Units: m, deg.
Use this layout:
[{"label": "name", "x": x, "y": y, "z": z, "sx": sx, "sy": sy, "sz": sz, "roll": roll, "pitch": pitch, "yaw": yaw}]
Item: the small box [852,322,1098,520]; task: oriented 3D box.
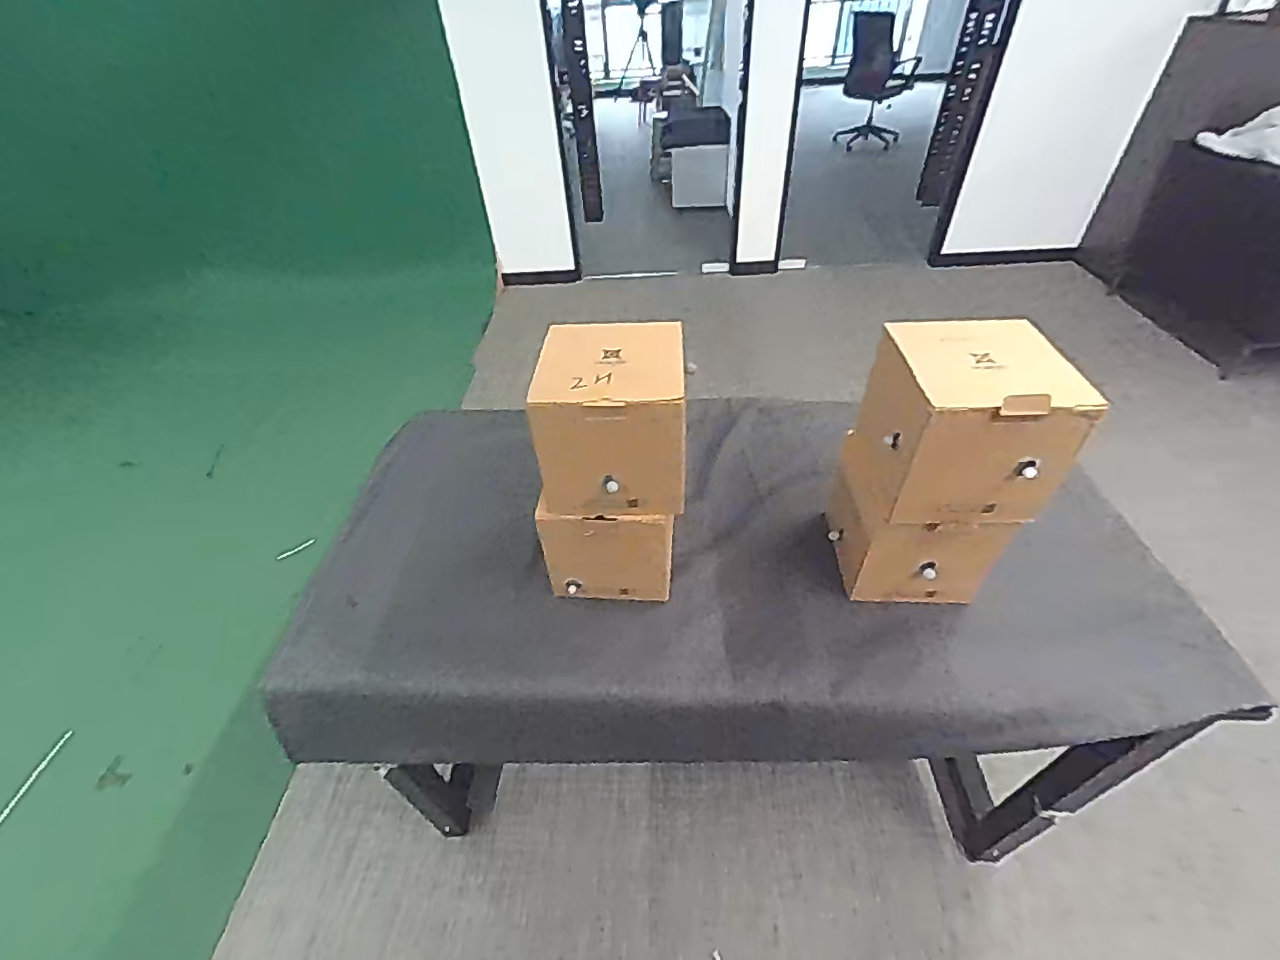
[{"label": "small box", "x": 0.366, "y": -0.068, "z": 0.635, "sx": 0.168, "sy": 0.176, "sz": 0.179, "roll": 0, "pitch": 42, "yaw": 3}]

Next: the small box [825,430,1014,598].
[{"label": "small box", "x": 0.367, "y": 0.048, "z": 0.750, "sx": 0.168, "sy": 0.176, "sz": 0.179, "roll": 1, "pitch": 44, "yaw": 4}]

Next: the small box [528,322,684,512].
[{"label": "small box", "x": -0.030, "y": -0.080, "z": 0.672, "sx": 0.168, "sy": 0.176, "sz": 0.179, "roll": -1, "pitch": 43, "yaw": 4}]

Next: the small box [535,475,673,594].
[{"label": "small box", "x": -0.039, "y": 0.047, "z": 0.778, "sx": 0.168, "sy": 0.176, "sz": 0.179, "roll": 2, "pitch": 42, "yaw": 5}]
